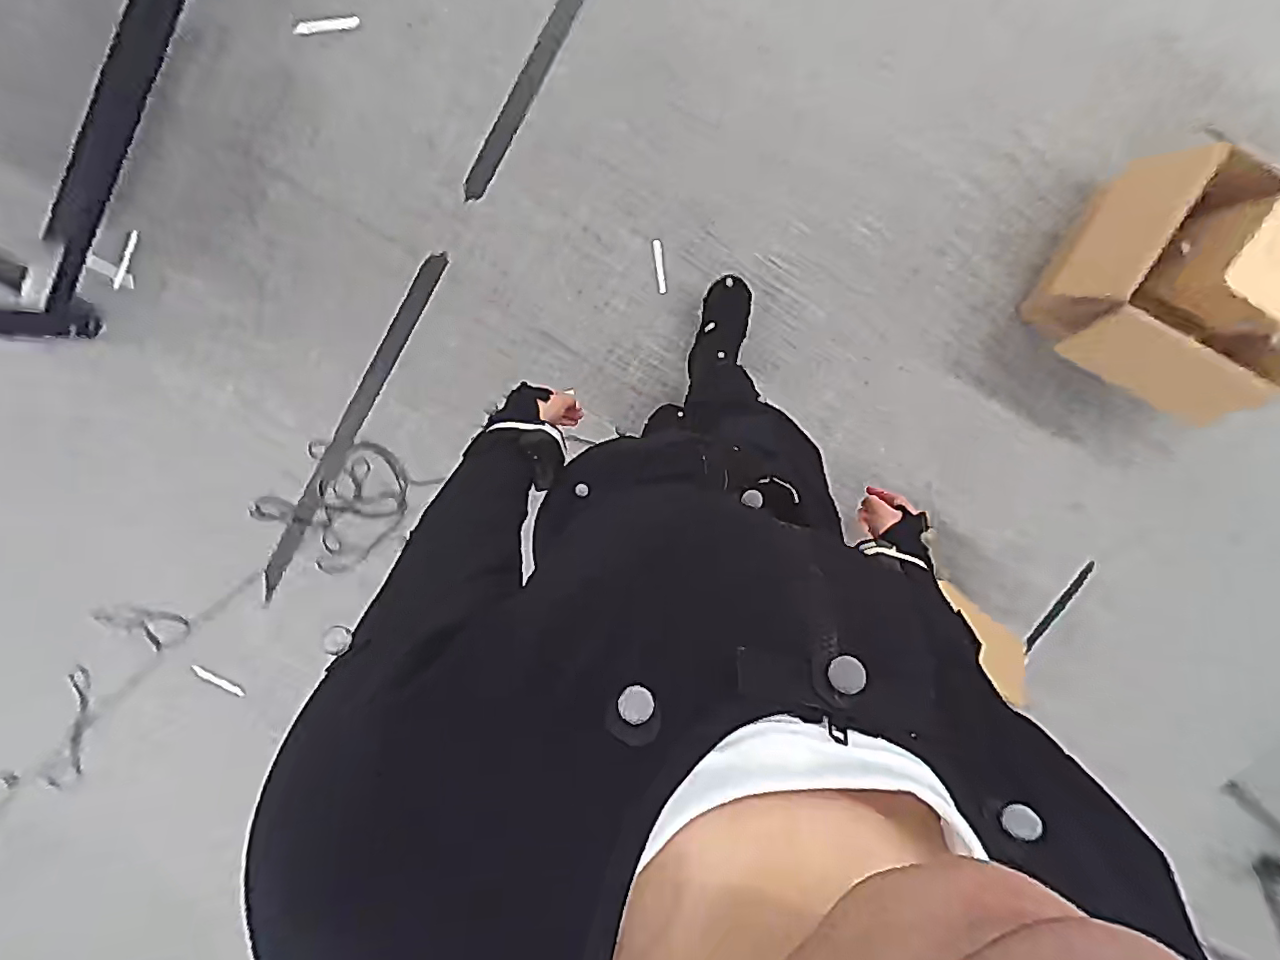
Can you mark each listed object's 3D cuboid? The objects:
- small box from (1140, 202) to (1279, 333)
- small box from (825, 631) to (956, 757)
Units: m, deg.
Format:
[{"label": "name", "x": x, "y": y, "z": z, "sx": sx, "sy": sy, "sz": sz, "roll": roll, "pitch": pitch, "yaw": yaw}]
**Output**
[{"label": "small box", "x": 1.145, "y": -0.396, "z": 1.038, "sx": 0.179, "sy": 0.176, "sz": 0.168, "roll": 29, "pitch": 100, "yaw": -6}, {"label": "small box", "x": 0.554, "y": 0.471, "z": 1.222, "sx": 0.179, "sy": 0.176, "sz": 0.168, "roll": 37, "pitch": 102, "yaw": -10}]
